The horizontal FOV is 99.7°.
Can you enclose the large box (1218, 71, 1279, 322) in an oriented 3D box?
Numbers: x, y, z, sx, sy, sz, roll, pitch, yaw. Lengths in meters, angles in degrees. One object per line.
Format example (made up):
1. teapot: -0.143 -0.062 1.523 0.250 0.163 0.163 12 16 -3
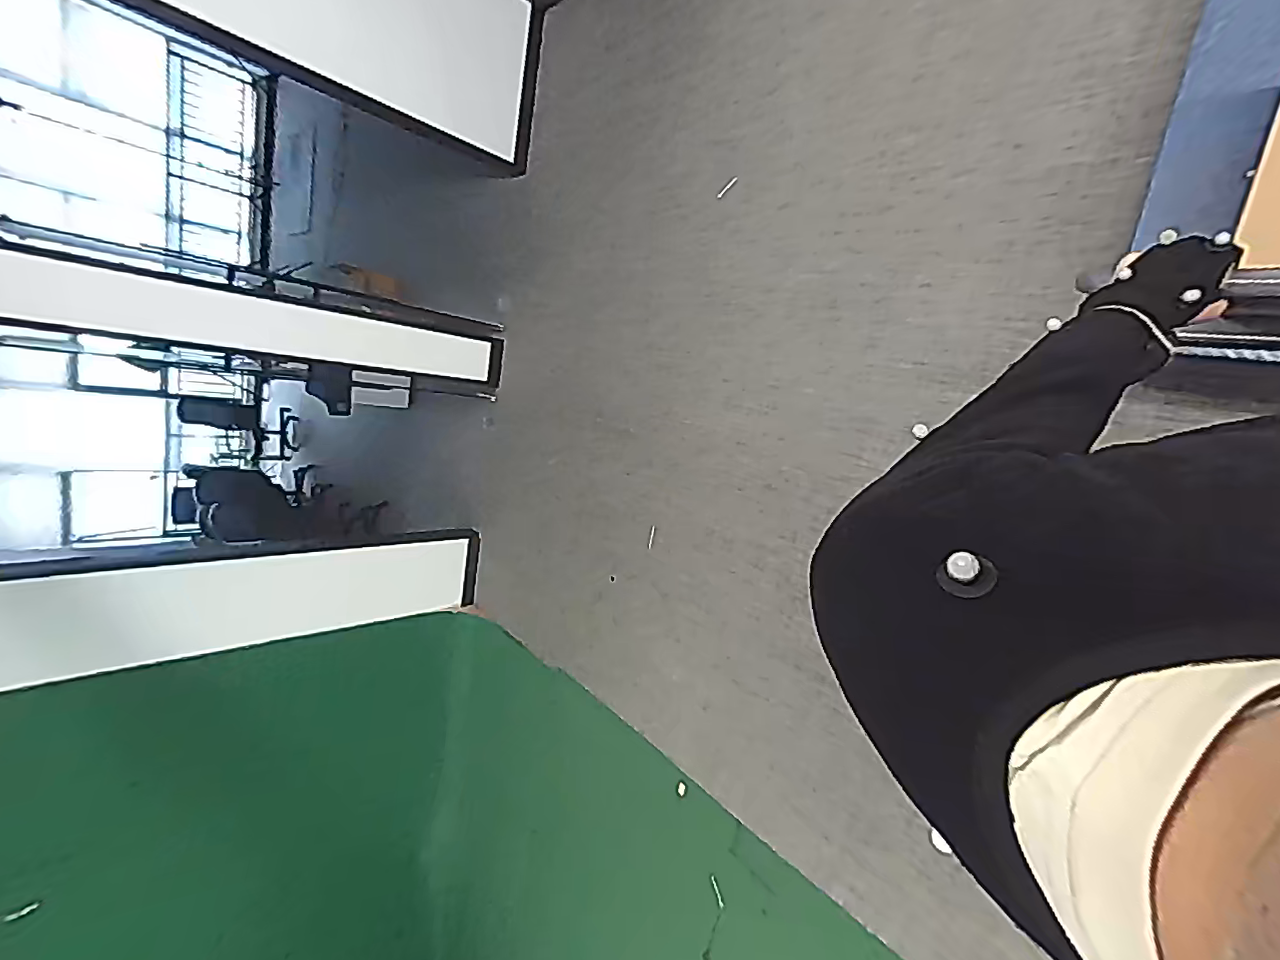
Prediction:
1. large box: 1.127 -0.466 0.795 0.320 0.320 0.408 18 101 43
